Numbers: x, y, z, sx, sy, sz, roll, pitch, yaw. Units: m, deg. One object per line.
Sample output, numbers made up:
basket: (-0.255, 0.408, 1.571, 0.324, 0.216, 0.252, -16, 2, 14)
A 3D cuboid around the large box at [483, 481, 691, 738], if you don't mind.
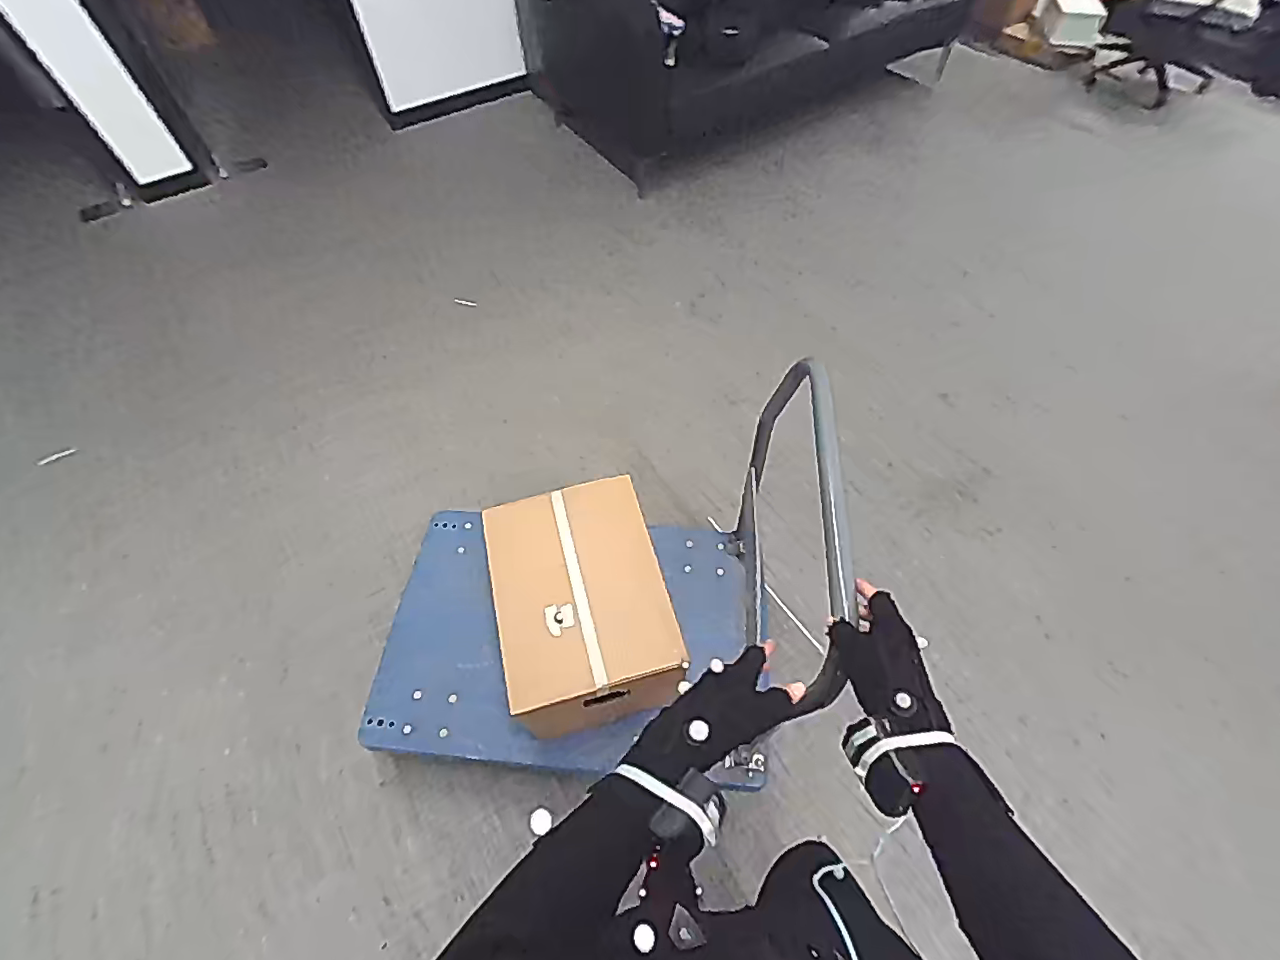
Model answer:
large box: (-0.114, 0.276, 1.148, 0.320, 0.320, 0.408, -16, 59, -7)
